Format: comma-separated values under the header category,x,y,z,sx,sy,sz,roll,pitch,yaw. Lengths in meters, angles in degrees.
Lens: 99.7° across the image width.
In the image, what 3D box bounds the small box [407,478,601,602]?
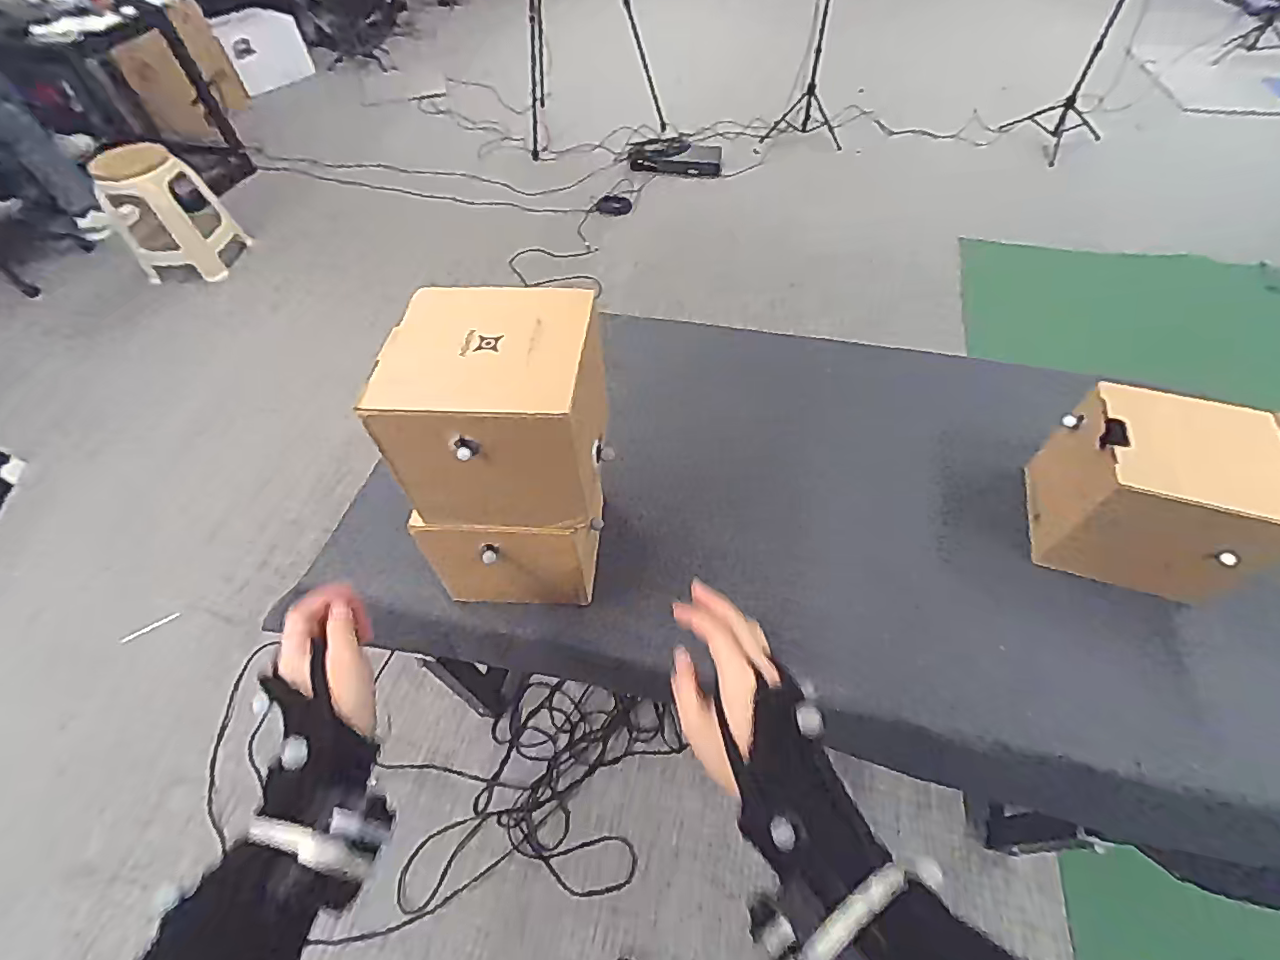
category,x,y,z,sx,sy,sz,roll,pitch,yaw
small box,-0.144,0.037,0.653,0.179,0.176,0.168,1,52,3

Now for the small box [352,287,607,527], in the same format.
category,x,y,z,sx,sy,sz,roll,pitch,yaw
small box,-0.132,-0.067,0.527,0.179,0.176,0.168,2,53,3
